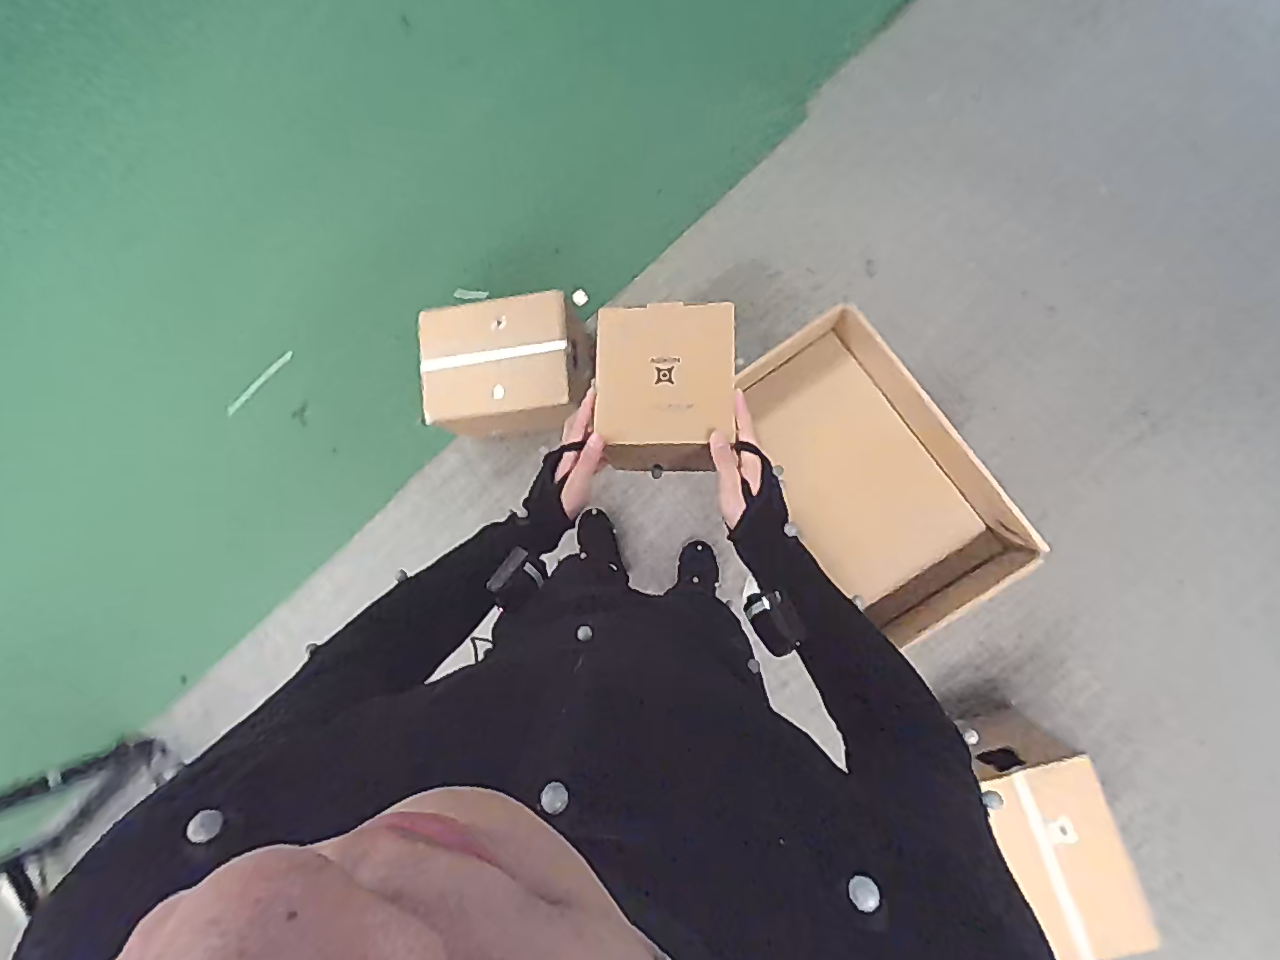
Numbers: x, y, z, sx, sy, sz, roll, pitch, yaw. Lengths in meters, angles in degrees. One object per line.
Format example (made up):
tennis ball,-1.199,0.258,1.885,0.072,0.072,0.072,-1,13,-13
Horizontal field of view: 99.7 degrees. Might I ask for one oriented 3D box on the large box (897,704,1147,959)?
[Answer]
large box,0.894,0.832,1.328,0.320,0.320,0.408,-18,83,6
